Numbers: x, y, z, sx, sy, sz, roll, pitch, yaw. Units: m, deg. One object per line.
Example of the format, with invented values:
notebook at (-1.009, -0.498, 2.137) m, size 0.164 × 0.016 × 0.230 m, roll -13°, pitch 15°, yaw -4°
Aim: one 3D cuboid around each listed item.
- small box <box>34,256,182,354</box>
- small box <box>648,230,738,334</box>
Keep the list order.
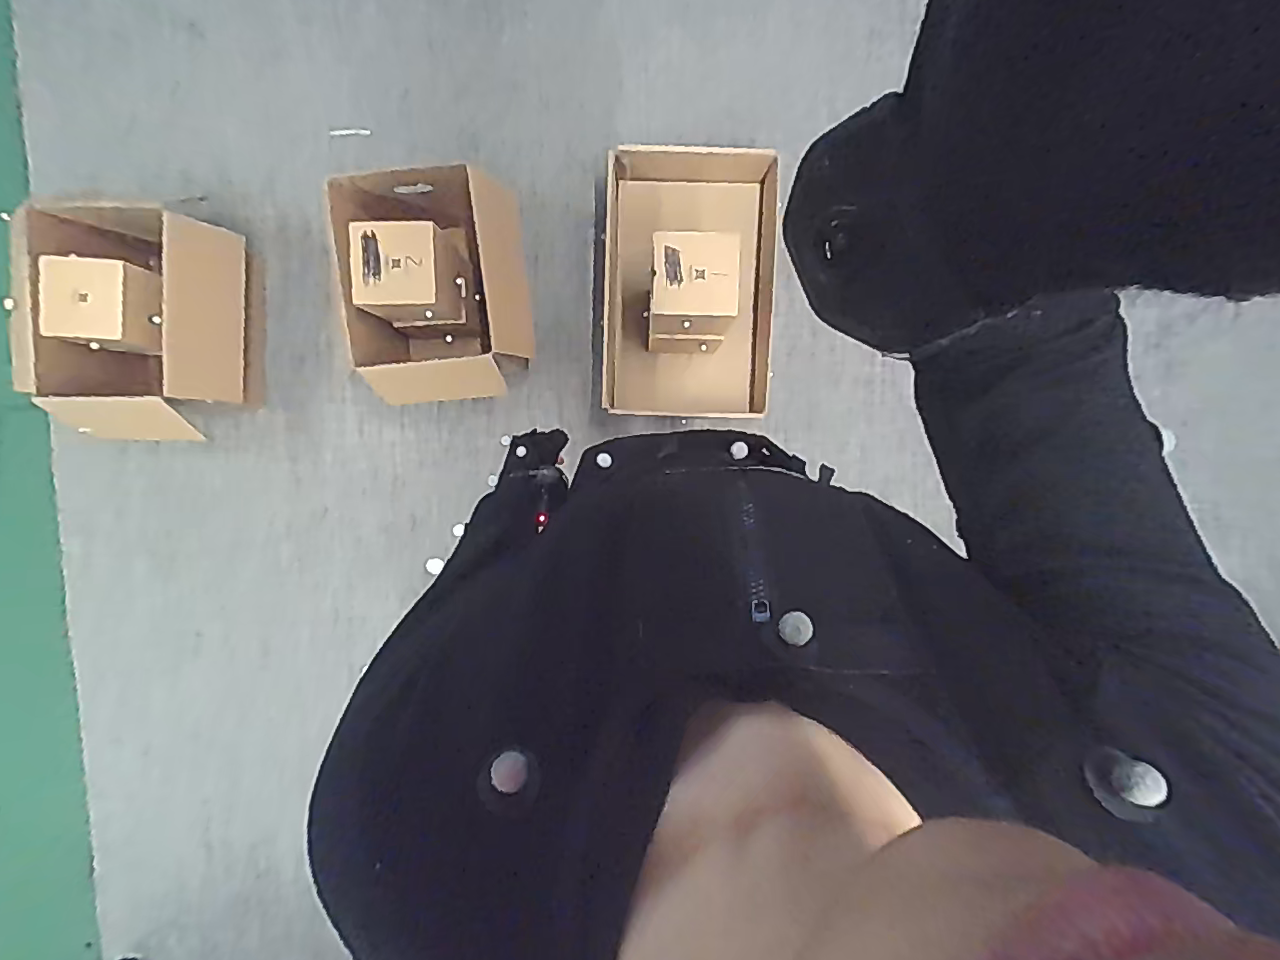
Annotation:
small box at (-1.162, -0.378, 1.195) m, size 0.179 × 0.176 × 0.168 m, roll 3°, pitch 93°, yaw -1°
small box at (0.106, -0.415, 1.155) m, size 0.179 × 0.176 × 0.168 m, roll 1°, pitch 92°, yaw -1°
